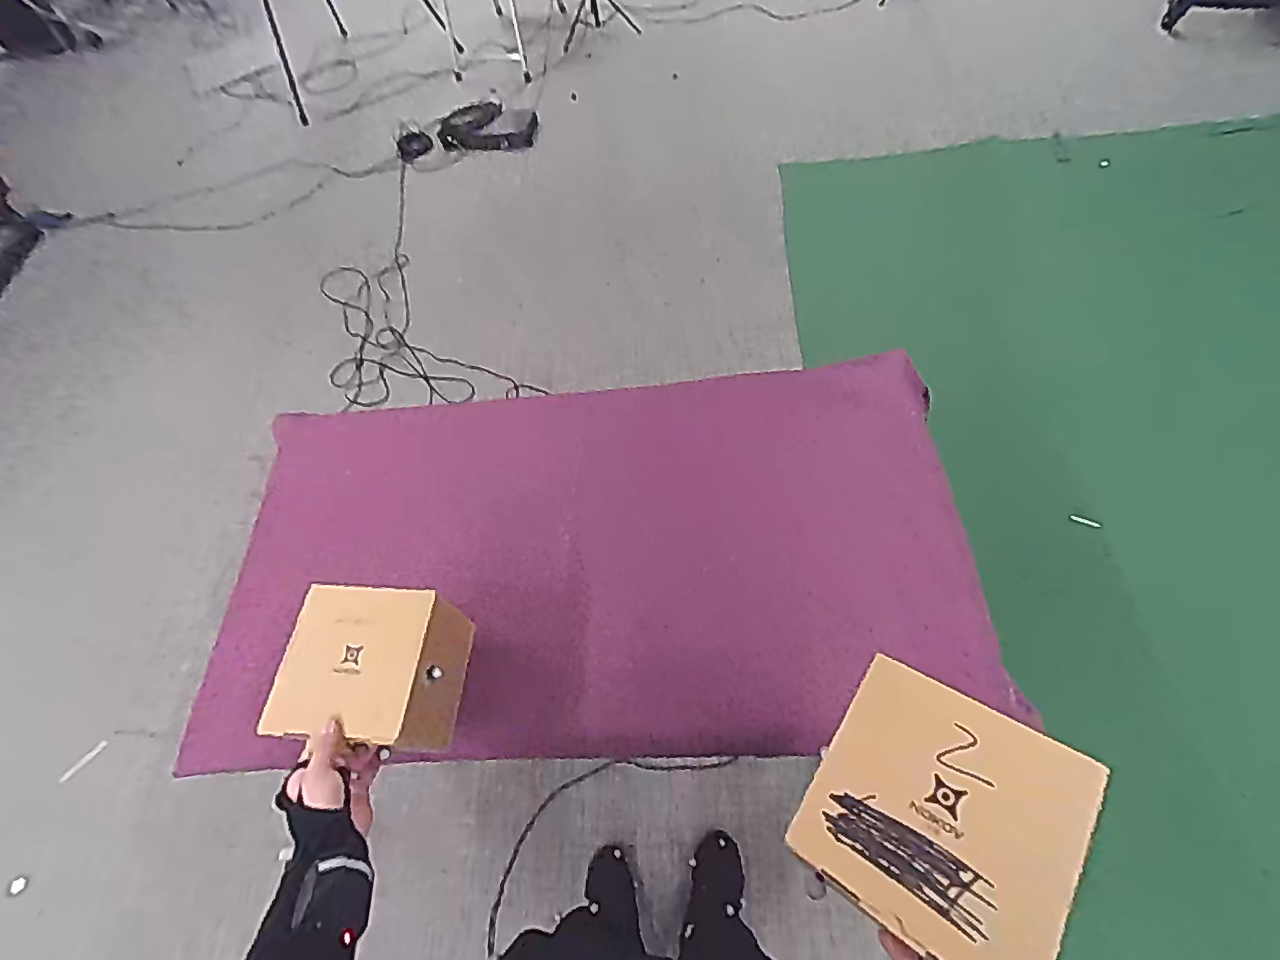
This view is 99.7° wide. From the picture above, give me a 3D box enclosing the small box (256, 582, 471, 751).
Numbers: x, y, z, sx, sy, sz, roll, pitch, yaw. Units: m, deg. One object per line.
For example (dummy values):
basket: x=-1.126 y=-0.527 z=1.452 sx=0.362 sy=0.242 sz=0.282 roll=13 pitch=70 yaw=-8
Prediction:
small box: x=-0.338 y=0.249 z=0.707 sx=0.168 sy=0.176 sz=0.179 roll=3 pitch=60 yaw=4
